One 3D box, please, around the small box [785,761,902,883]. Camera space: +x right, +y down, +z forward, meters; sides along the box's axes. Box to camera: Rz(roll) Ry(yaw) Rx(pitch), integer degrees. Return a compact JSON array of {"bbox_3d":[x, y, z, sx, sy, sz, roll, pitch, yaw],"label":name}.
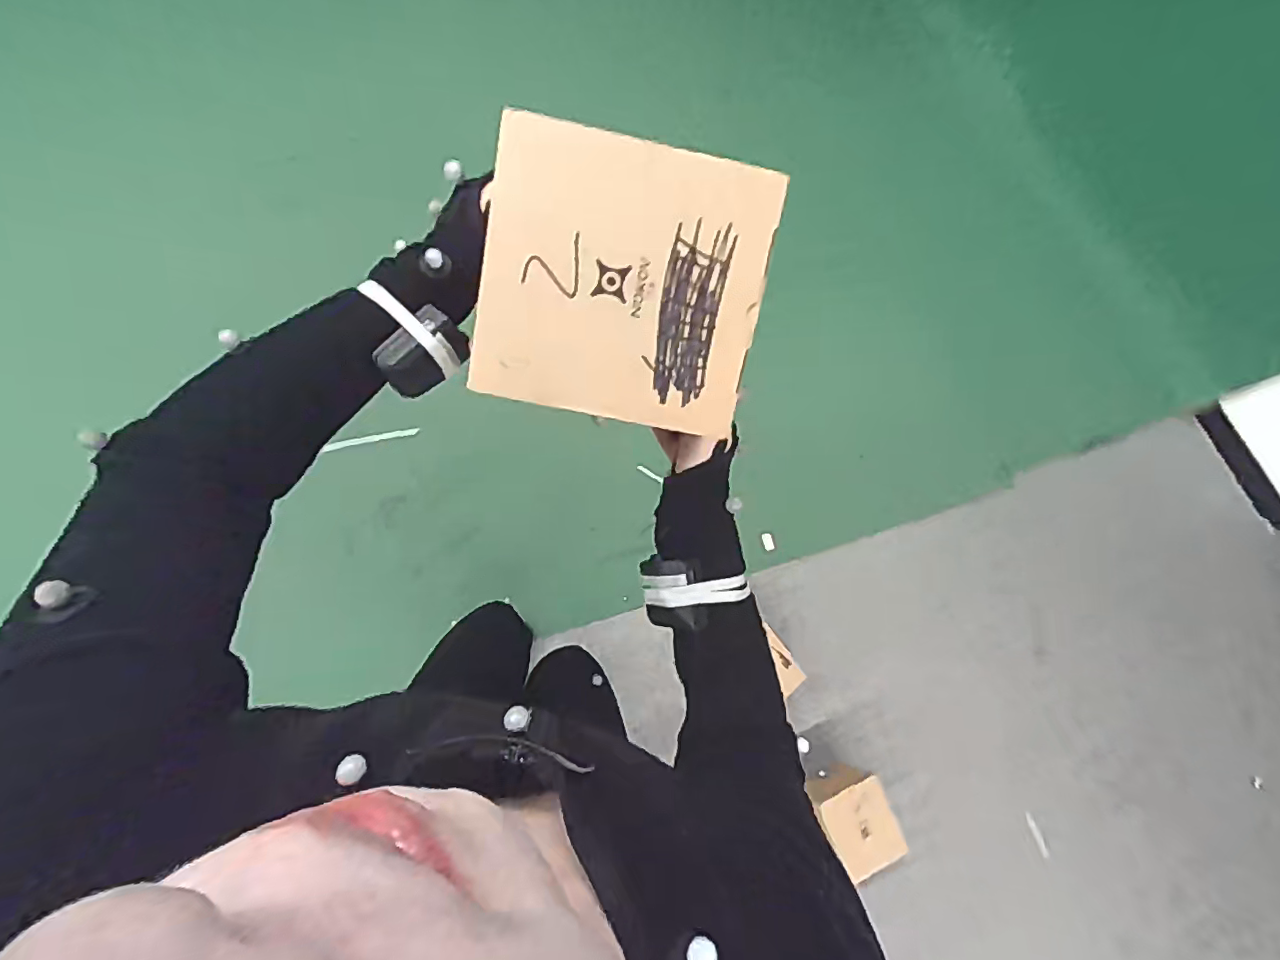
[{"bbox_3d":[0.481,0.809,1.301,0.168,0.176,0.179,-16,76,-16],"label":"small box"}]
